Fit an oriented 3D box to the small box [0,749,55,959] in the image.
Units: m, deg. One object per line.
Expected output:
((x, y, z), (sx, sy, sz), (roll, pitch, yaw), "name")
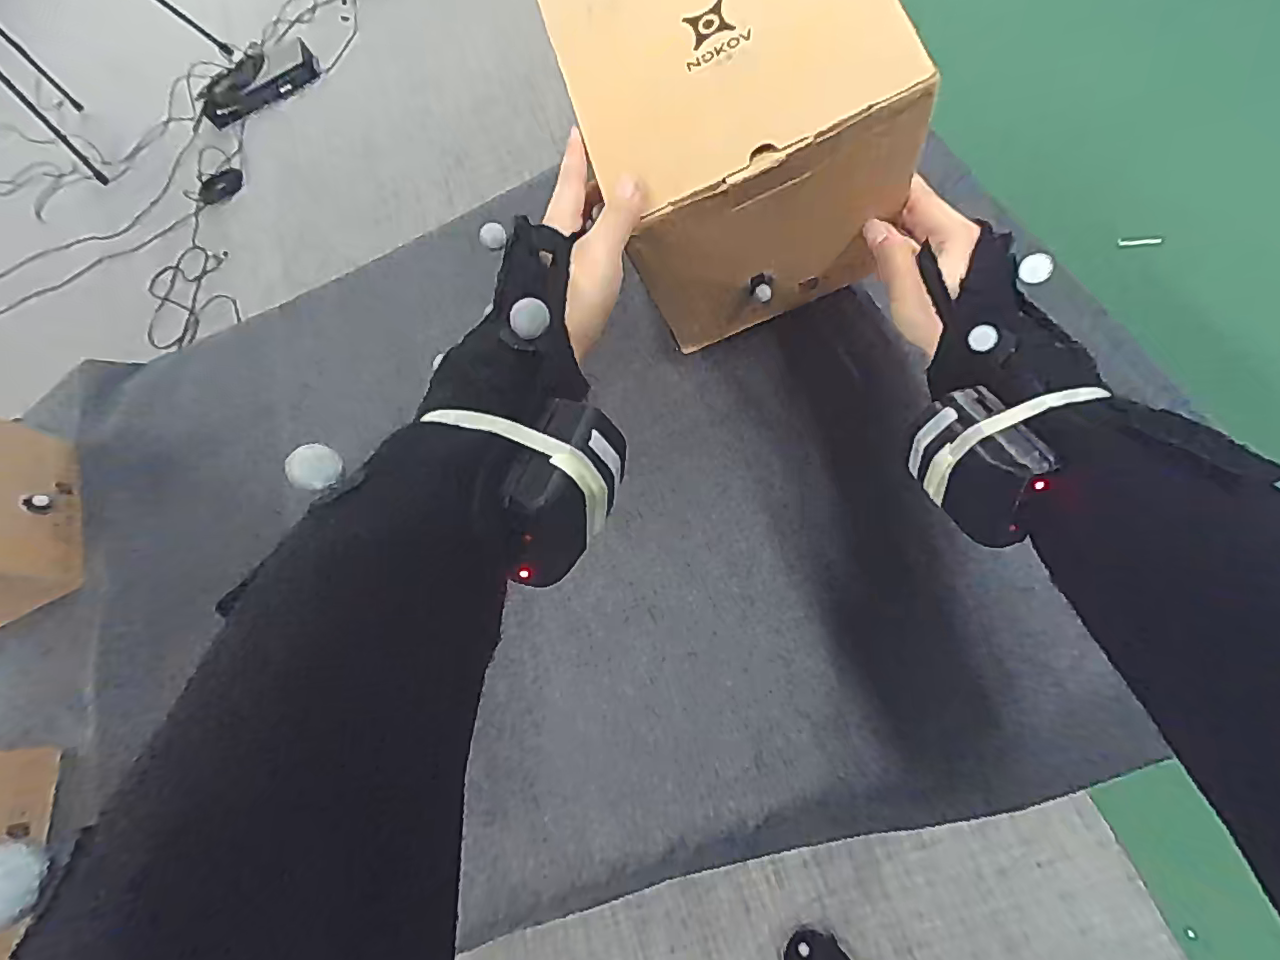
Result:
((-0.564, 0.292, 0.359), (0.179, 0.176, 0.168), (-21, 64, 6), "small box")
